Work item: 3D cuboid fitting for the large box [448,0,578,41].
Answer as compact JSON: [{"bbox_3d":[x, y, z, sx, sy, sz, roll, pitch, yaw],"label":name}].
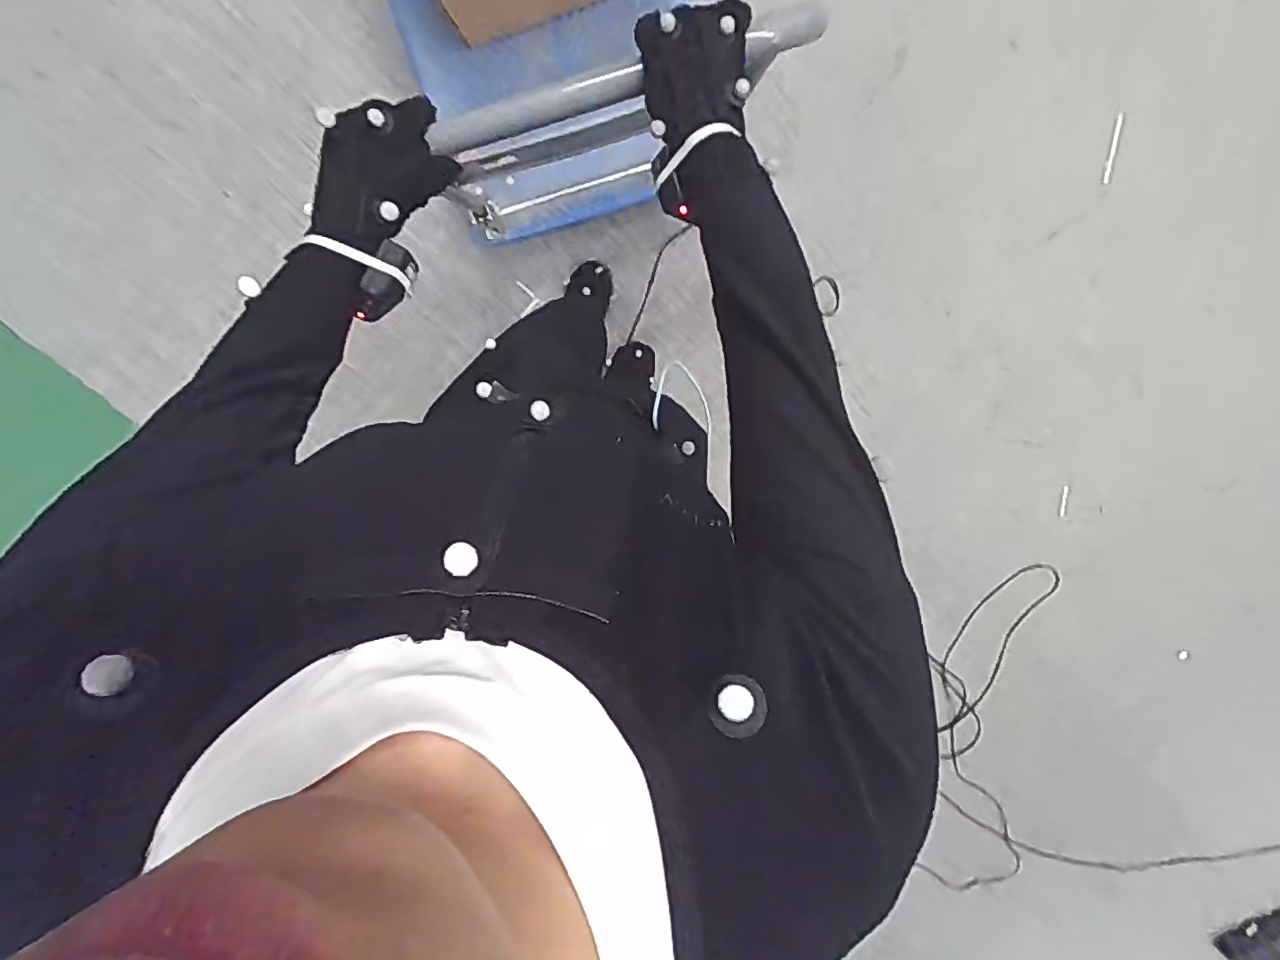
[{"bbox_3d":[-0.175,-0.986,0.834,0.408,0.320,0.320,-18,107,6],"label":"large box"}]
